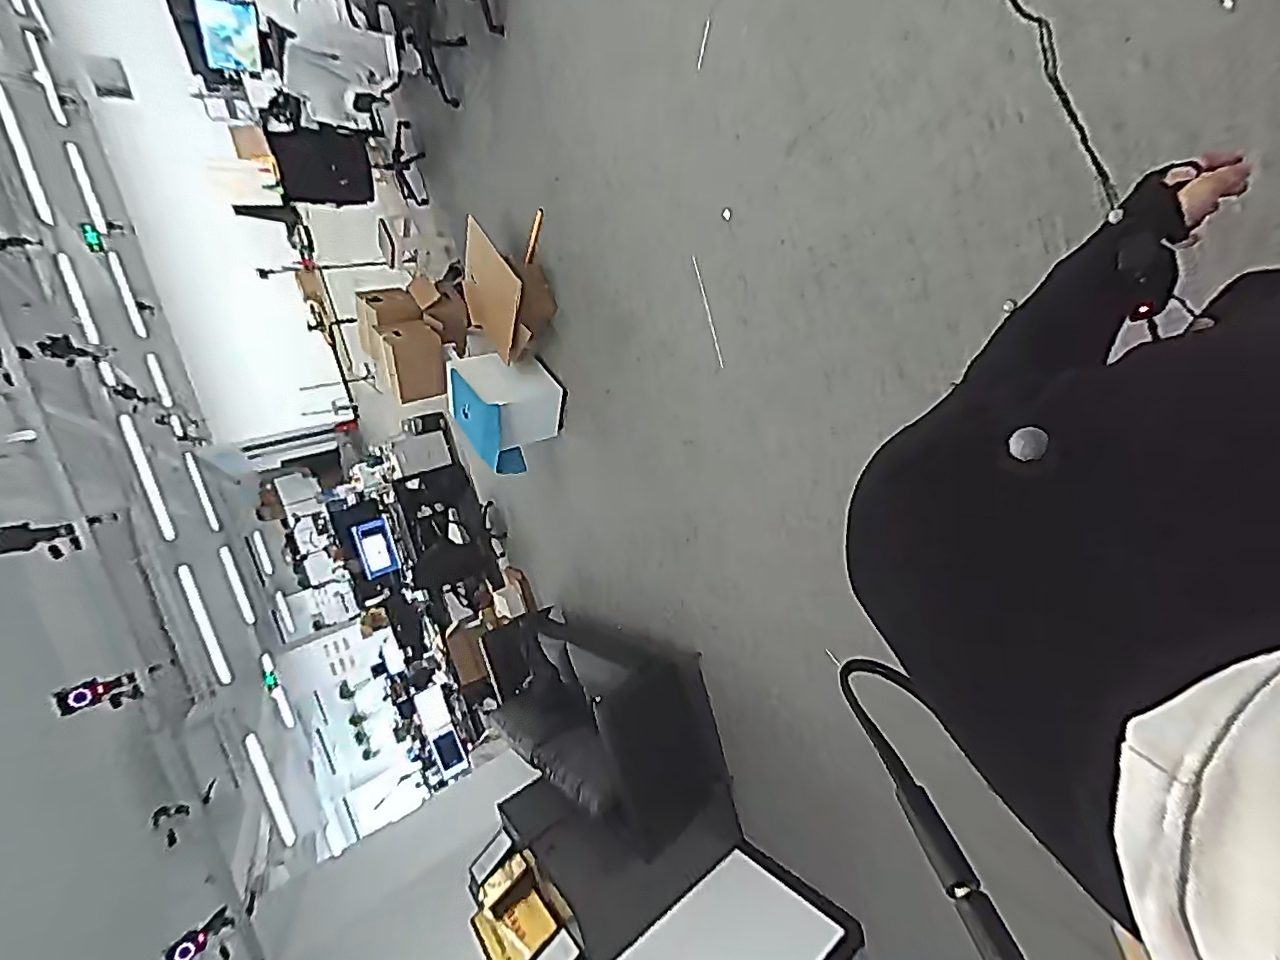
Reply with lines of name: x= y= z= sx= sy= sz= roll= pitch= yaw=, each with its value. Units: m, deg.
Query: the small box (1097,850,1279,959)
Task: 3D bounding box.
small box: x=0.898 y=0.757 z=0.882 sx=0.168 sy=0.176 sz=0.179 roll=-21 pitch=88 yaw=58
